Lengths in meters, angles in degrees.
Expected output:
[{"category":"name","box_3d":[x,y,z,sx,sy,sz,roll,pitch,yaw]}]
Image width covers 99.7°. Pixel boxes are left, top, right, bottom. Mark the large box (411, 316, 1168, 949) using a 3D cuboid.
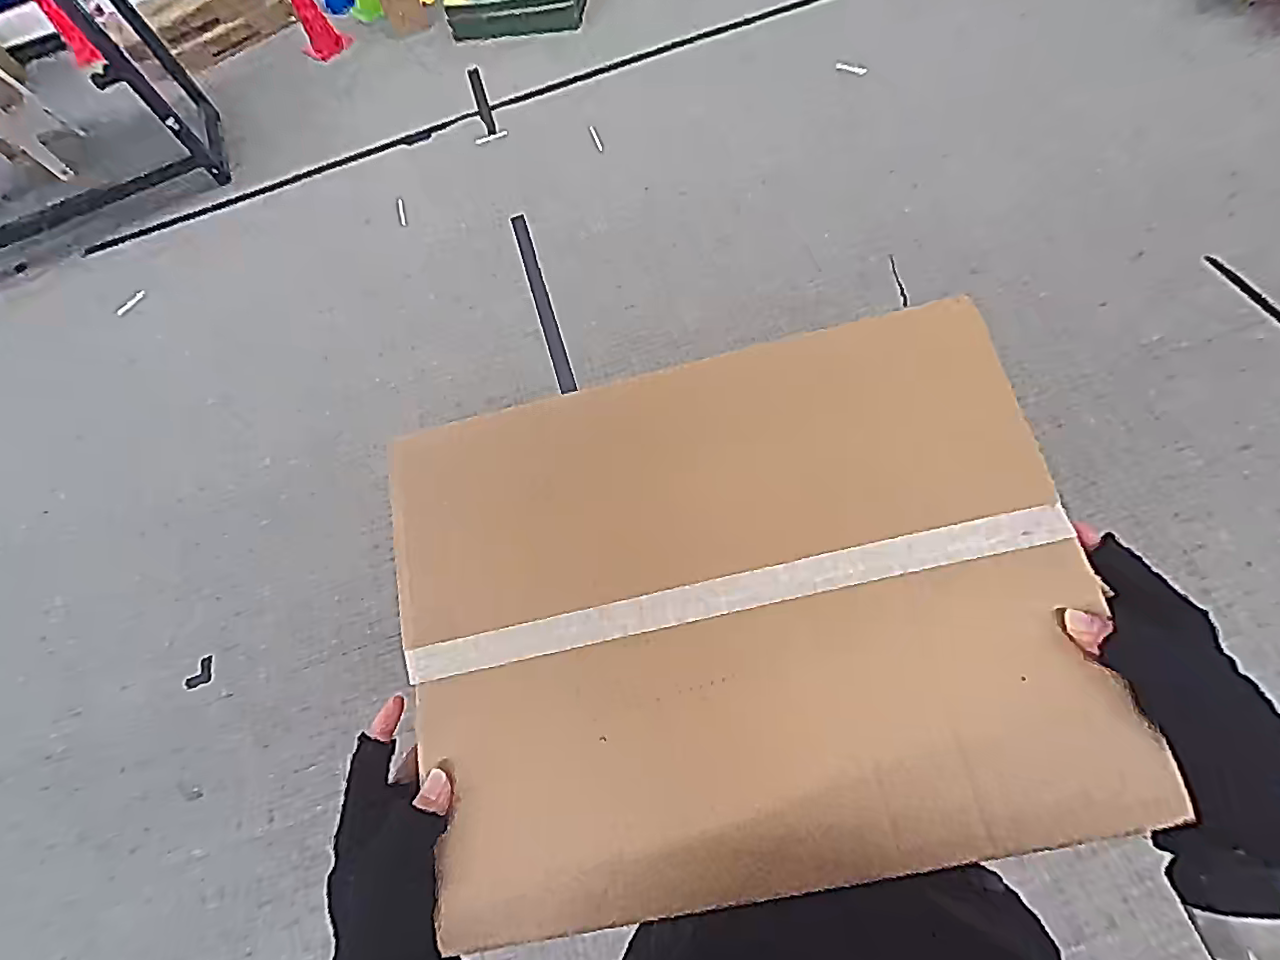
[{"category":"large box","box_3d":[0.074,0.117,0.480,0.408,0.320,0.320,-14,75,4]}]
